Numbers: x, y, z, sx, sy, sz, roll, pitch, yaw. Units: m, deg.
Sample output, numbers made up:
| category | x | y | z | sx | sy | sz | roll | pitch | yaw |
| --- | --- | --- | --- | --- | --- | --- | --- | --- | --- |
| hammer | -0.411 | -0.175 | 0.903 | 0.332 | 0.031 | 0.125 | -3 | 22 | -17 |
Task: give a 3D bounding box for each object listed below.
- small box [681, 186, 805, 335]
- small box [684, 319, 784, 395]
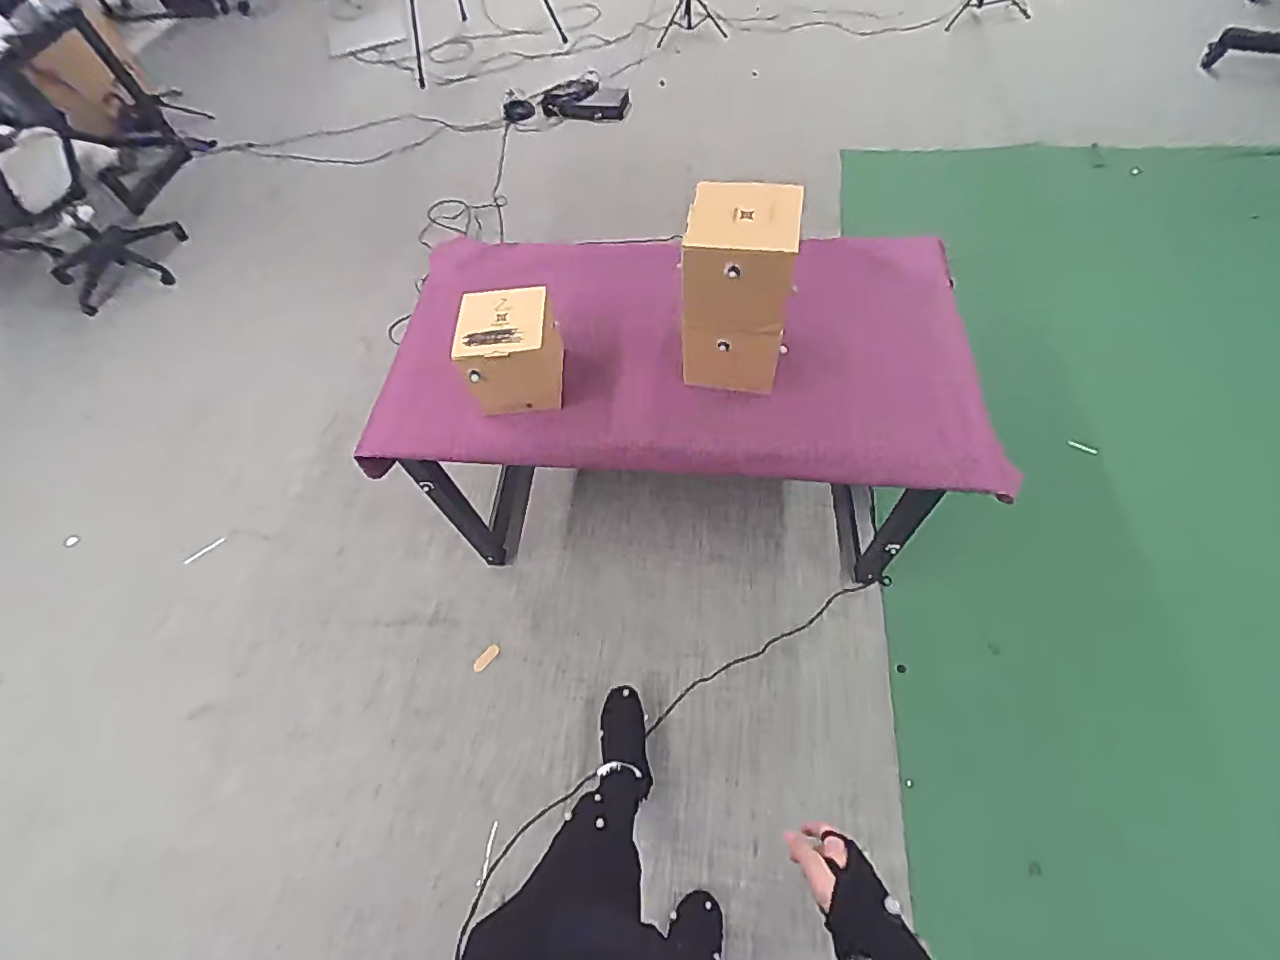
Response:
| category | x | y | z | sx | sy | sz | roll | pitch | yaw |
| --- | --- | --- | --- | --- | --- | --- | --- | --- | --- |
| small box | 0.170 | -0.364 | 0.910 | 0.179 | 0.176 | 0.168 | 8 | 62 | 10 |
| small box | 0.187 | -0.284 | 1.051 | 0.179 | 0.176 | 0.168 | 9 | 61 | 10 |
